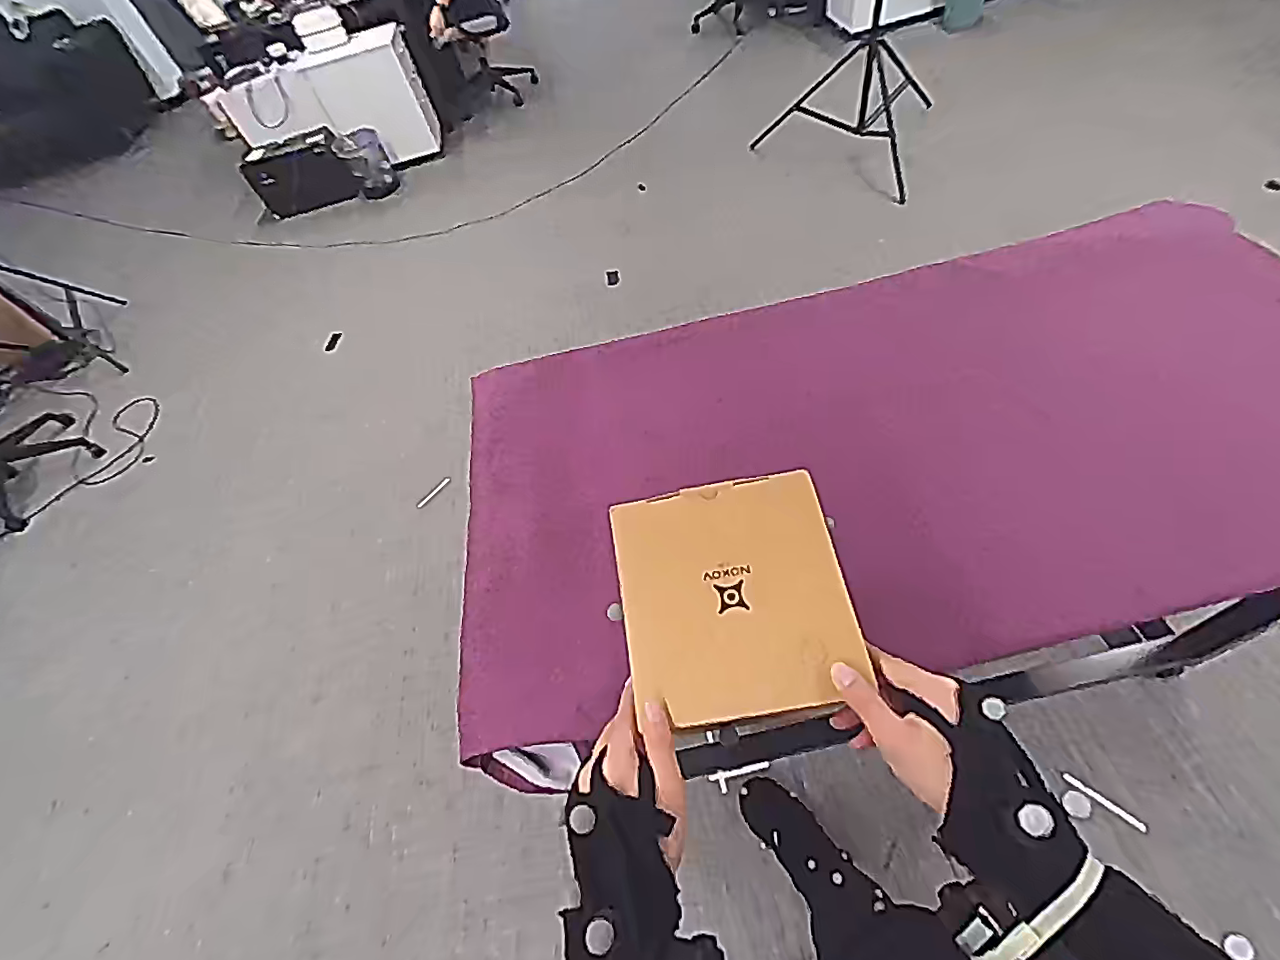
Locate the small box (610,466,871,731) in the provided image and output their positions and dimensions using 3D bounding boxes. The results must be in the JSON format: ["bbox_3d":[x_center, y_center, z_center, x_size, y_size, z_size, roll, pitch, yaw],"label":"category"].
[{"bbox_3d":[0.079,0.115,0.473,0.168,0.176,0.179,-12,61,4],"label":"small box"}]
